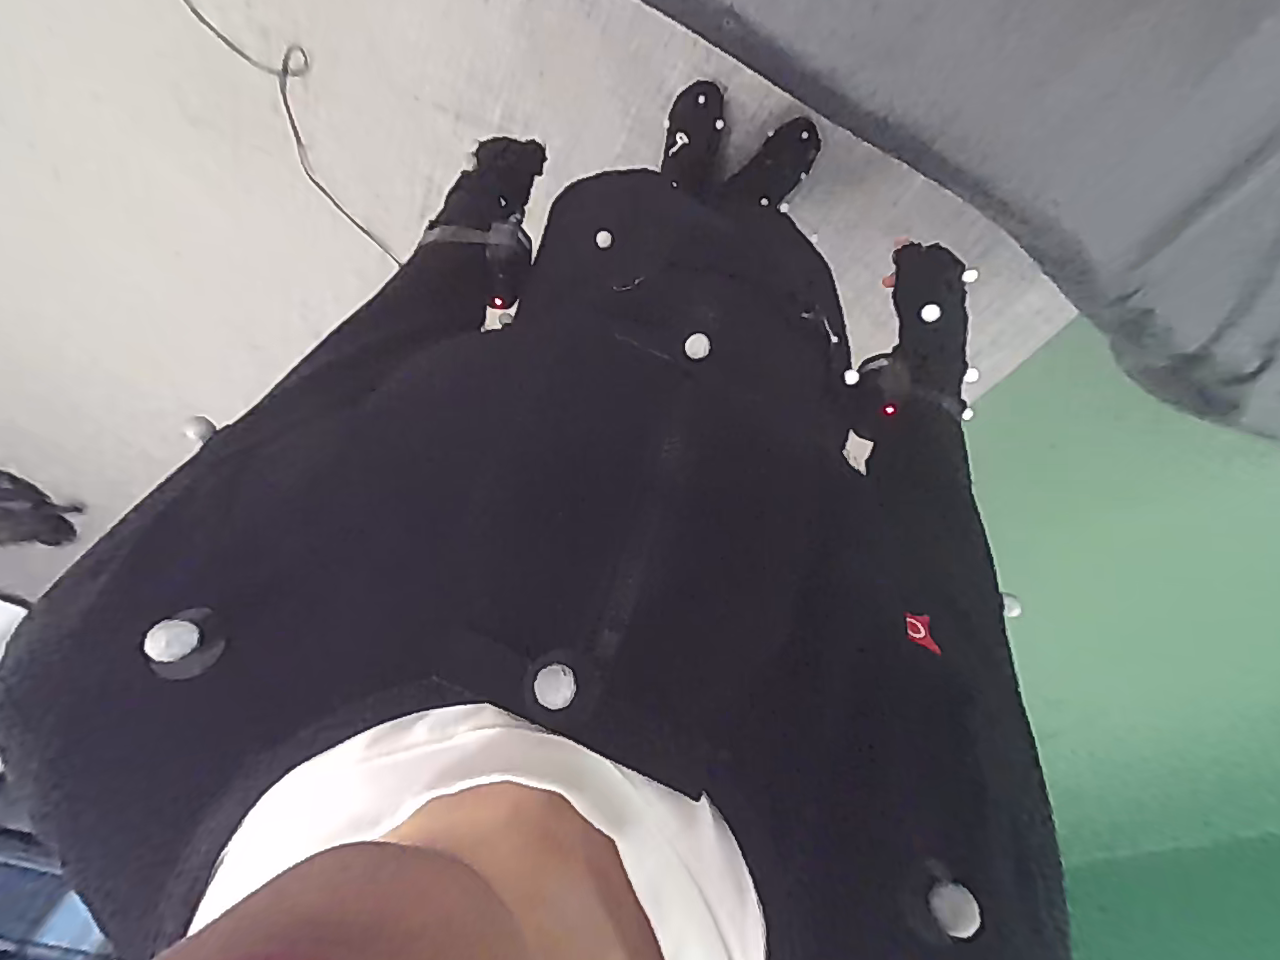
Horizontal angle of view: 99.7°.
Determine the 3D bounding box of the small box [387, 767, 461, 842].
[{"bbox_3d":[-0.760,1.141,1.907,0.179,0.176,0.168,23,128,-12],"label":"small box"}]
